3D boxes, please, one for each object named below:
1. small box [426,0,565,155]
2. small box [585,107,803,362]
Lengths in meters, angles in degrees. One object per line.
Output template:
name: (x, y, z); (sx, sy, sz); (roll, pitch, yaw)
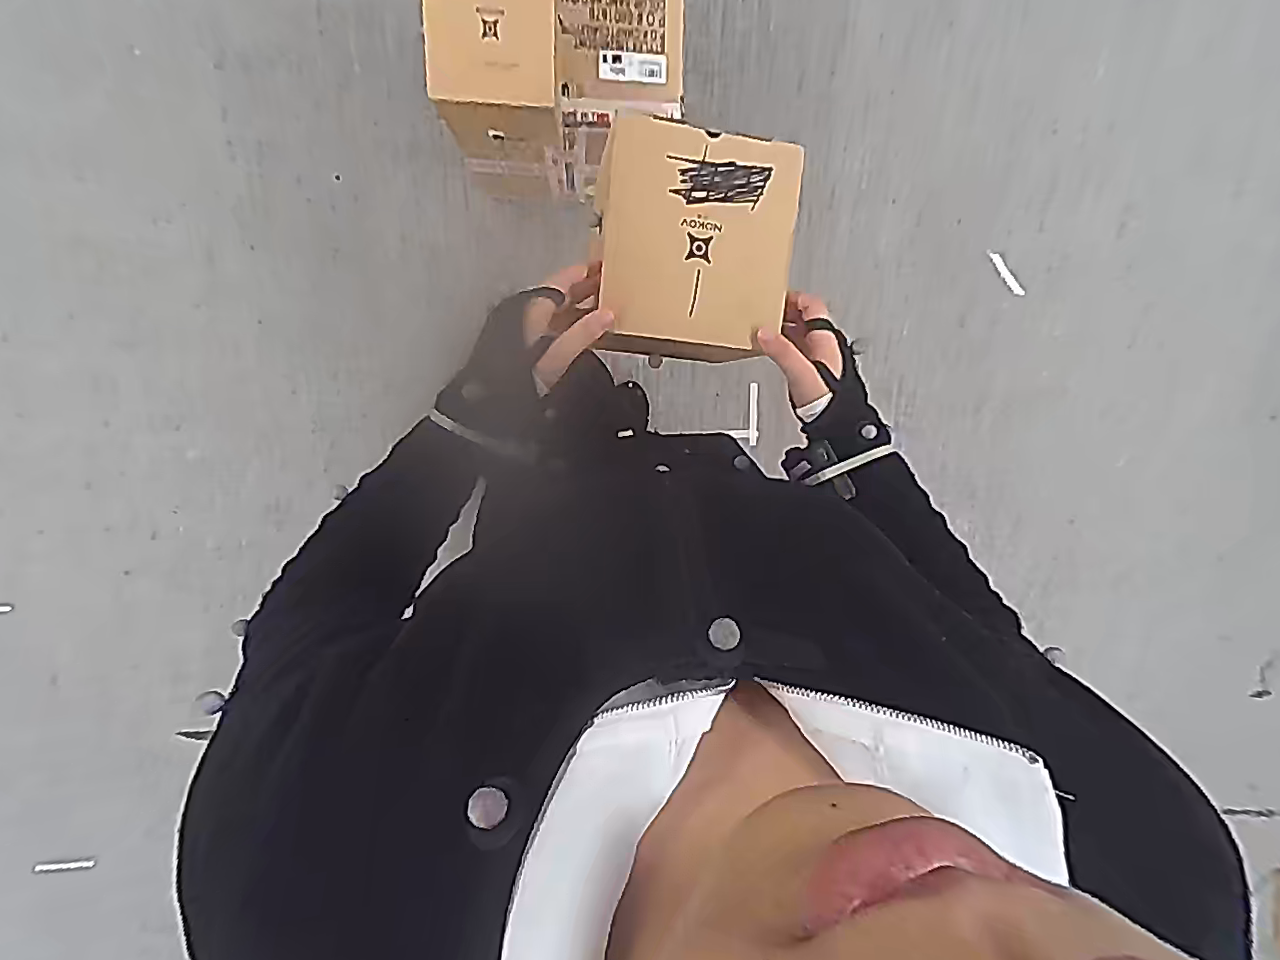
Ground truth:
small box: (-0.195, -0.588, 0.765); (0.168, 0.176, 0.179); (0, 106, -5)
small box: (0.038, -0.219, 0.536); (0.168, 0.176, 0.179); (4, 98, -11)
